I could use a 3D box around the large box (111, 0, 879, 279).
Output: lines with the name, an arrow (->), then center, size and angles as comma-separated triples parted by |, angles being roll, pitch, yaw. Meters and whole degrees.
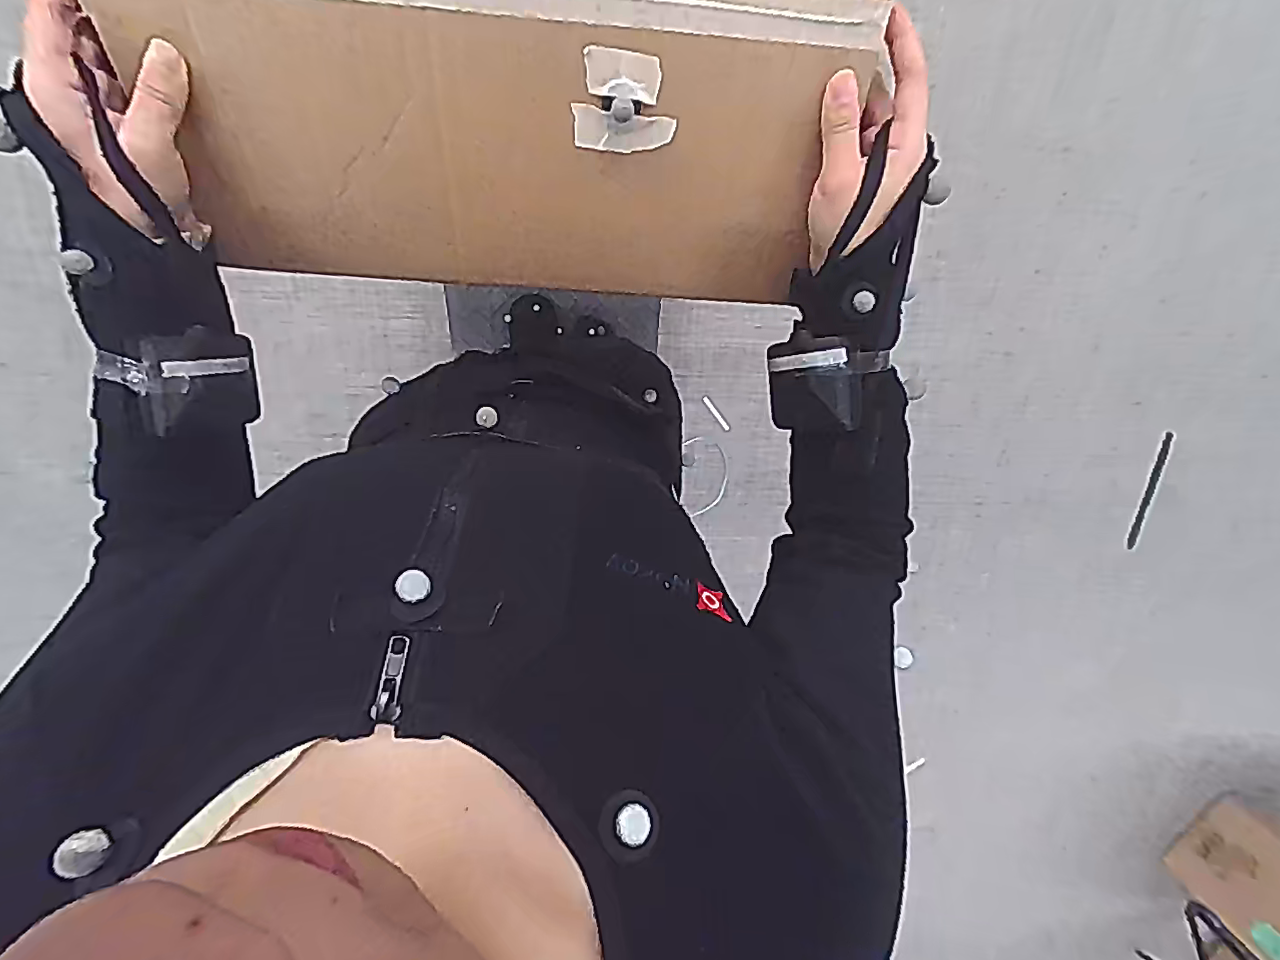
large box -> -0.077, -0.362, 0.382 | 0.408, 0.320, 0.320 | 2, 134, -5
